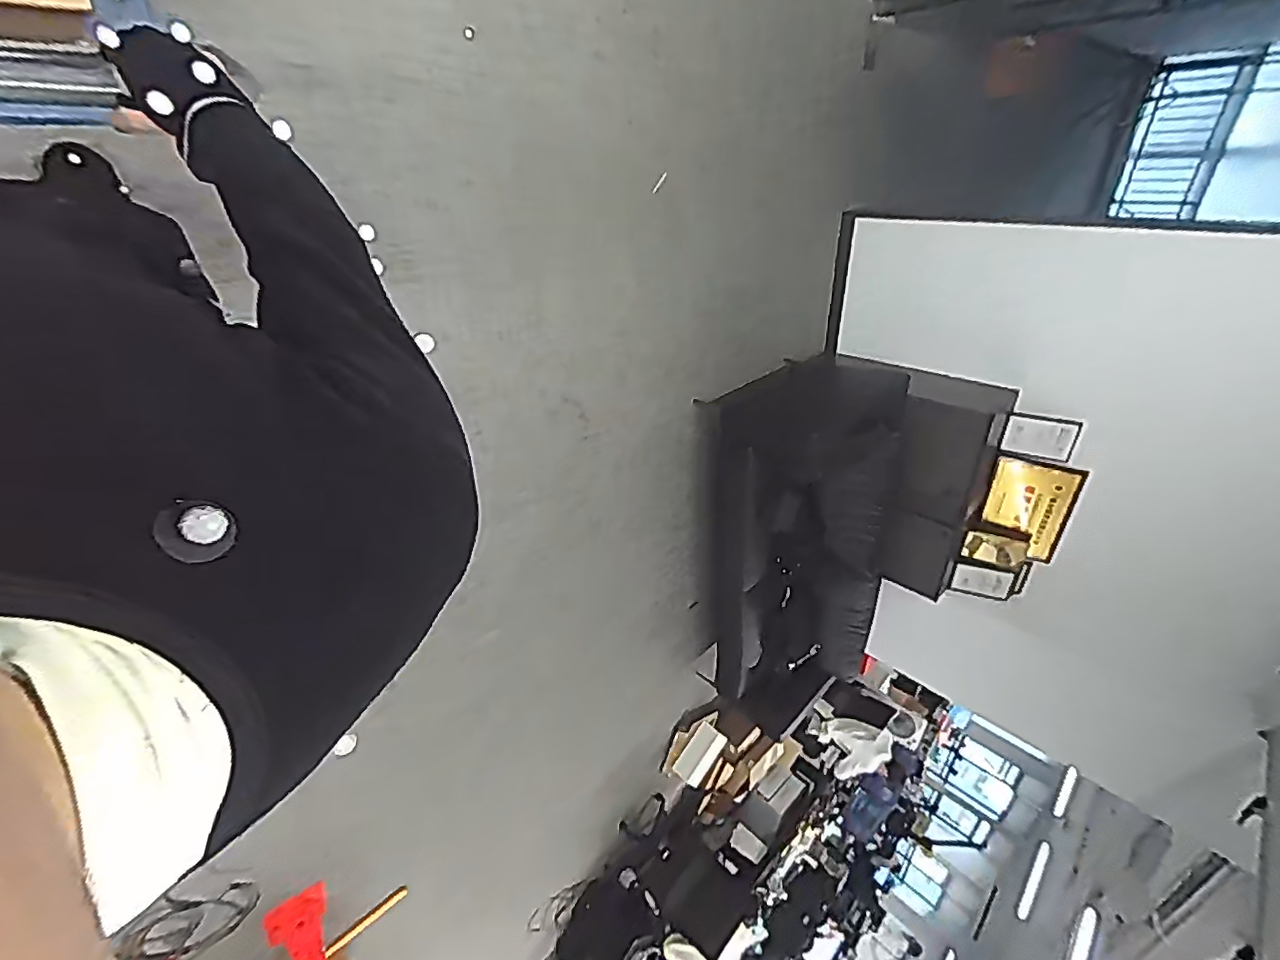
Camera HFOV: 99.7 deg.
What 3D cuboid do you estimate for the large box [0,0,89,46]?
[{"bbox_3d":[-0.949,-0.789,0.627,0.320,0.320,0.408,-27,128,-37],"label":"large box"}]
